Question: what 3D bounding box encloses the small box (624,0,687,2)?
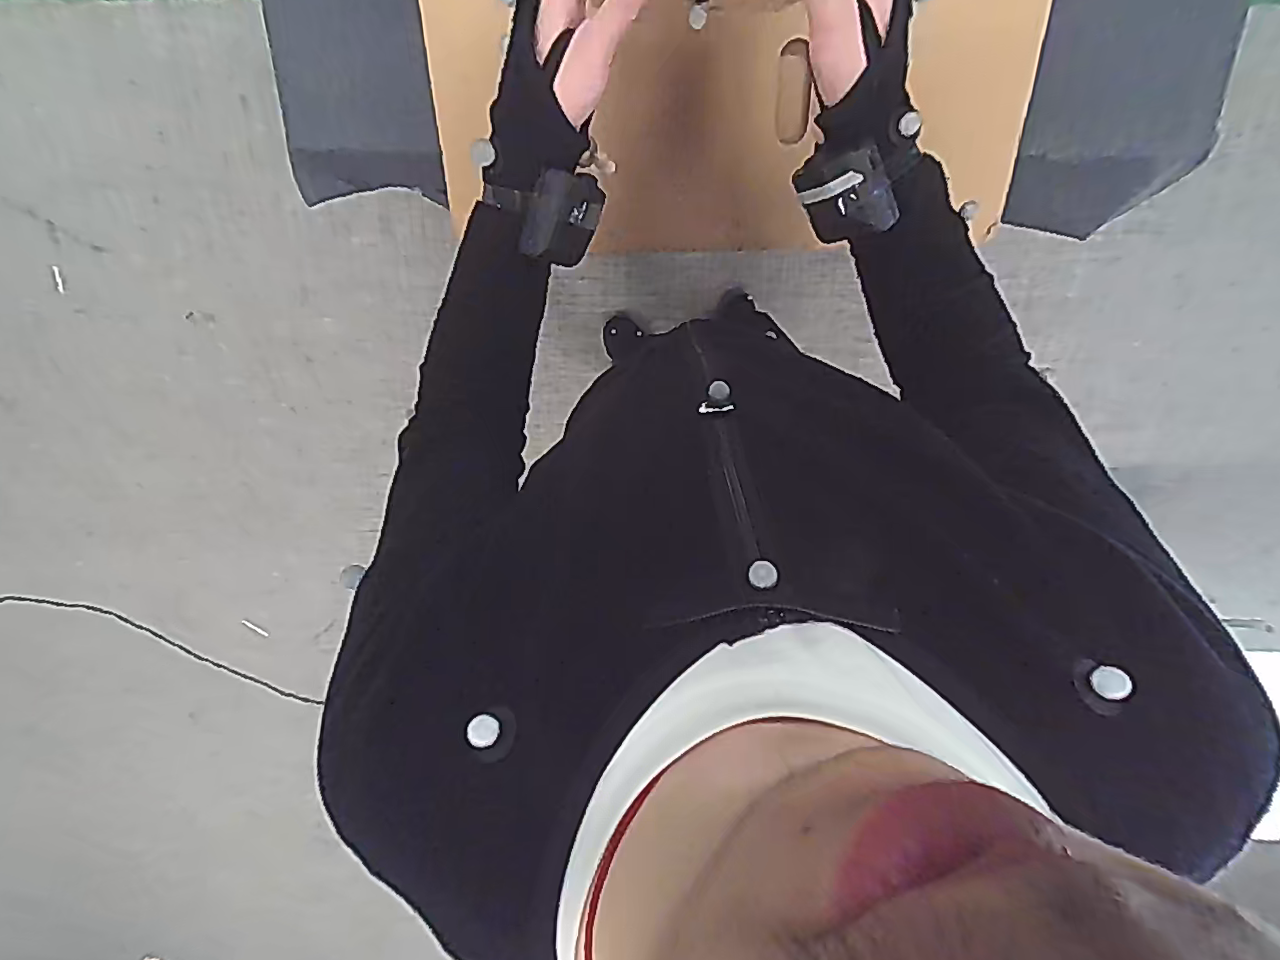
[{"bbox_3d":[0.047,-0.434,0.351,0.168,0.176,0.179,-2,125,1],"label":"small box"}]
